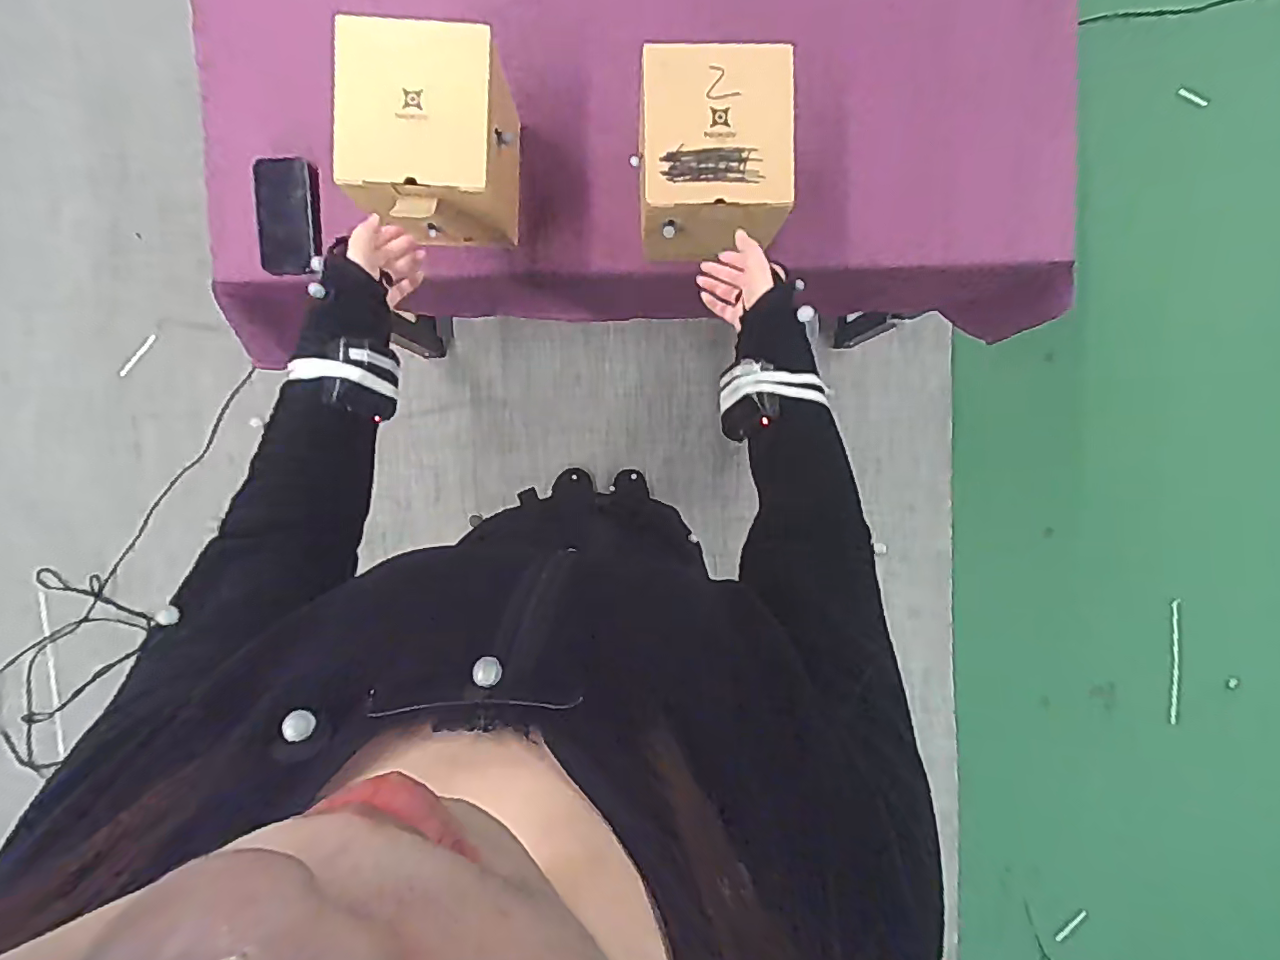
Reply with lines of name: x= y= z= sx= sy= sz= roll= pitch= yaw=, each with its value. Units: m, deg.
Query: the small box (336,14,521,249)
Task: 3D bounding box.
small box: x=-0.243 y=-0.406 z=0.658 sx=0.168 sy=0.176 sz=0.179 roll=3 pitch=93 yaw=-3
